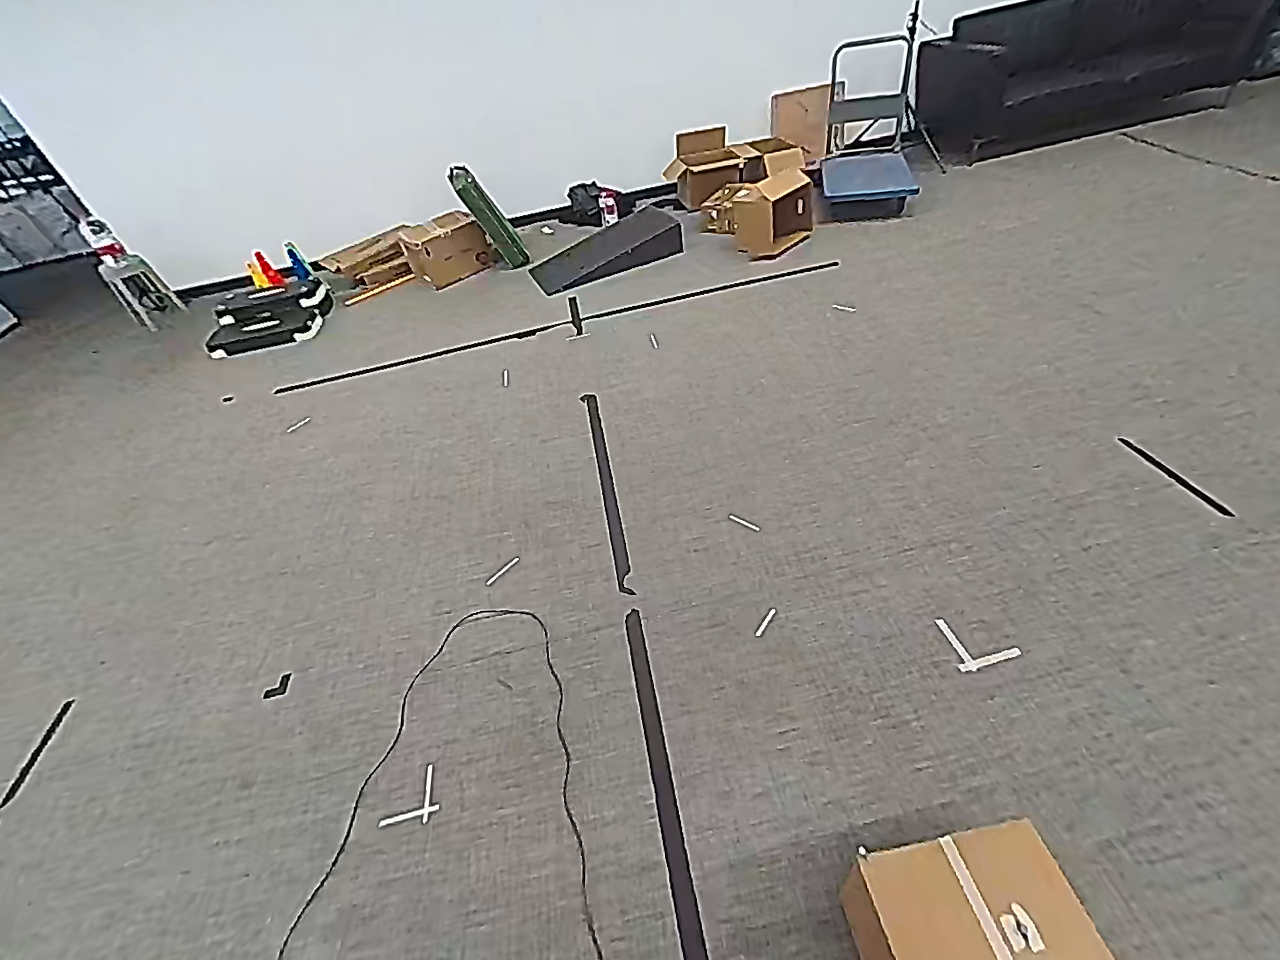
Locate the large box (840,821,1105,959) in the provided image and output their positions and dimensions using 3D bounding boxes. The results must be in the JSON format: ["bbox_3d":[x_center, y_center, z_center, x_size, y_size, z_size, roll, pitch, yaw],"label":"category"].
[{"bbox_3d":[0.581,0.875,0.910,0.320,0.320,0.408,-11,42,-2],"label":"large box"}]
